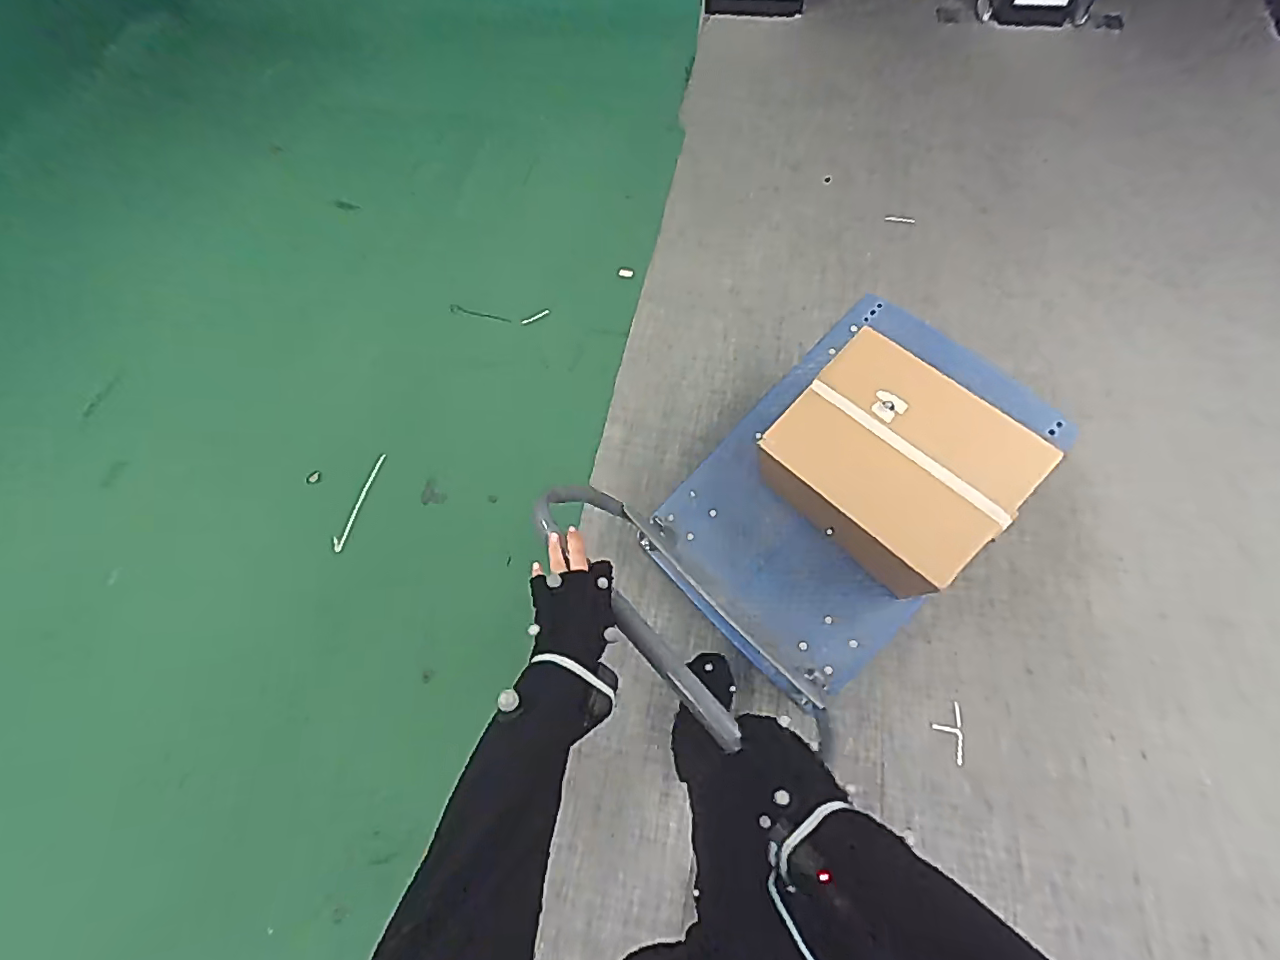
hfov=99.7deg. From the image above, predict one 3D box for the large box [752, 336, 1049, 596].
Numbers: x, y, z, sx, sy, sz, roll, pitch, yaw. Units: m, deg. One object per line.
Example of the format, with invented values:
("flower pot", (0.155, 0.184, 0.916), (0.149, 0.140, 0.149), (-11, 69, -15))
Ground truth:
("large box", (0.495, -0.011, 1.118), (0.320, 0.320, 0.408), (-47, 69, -2))
